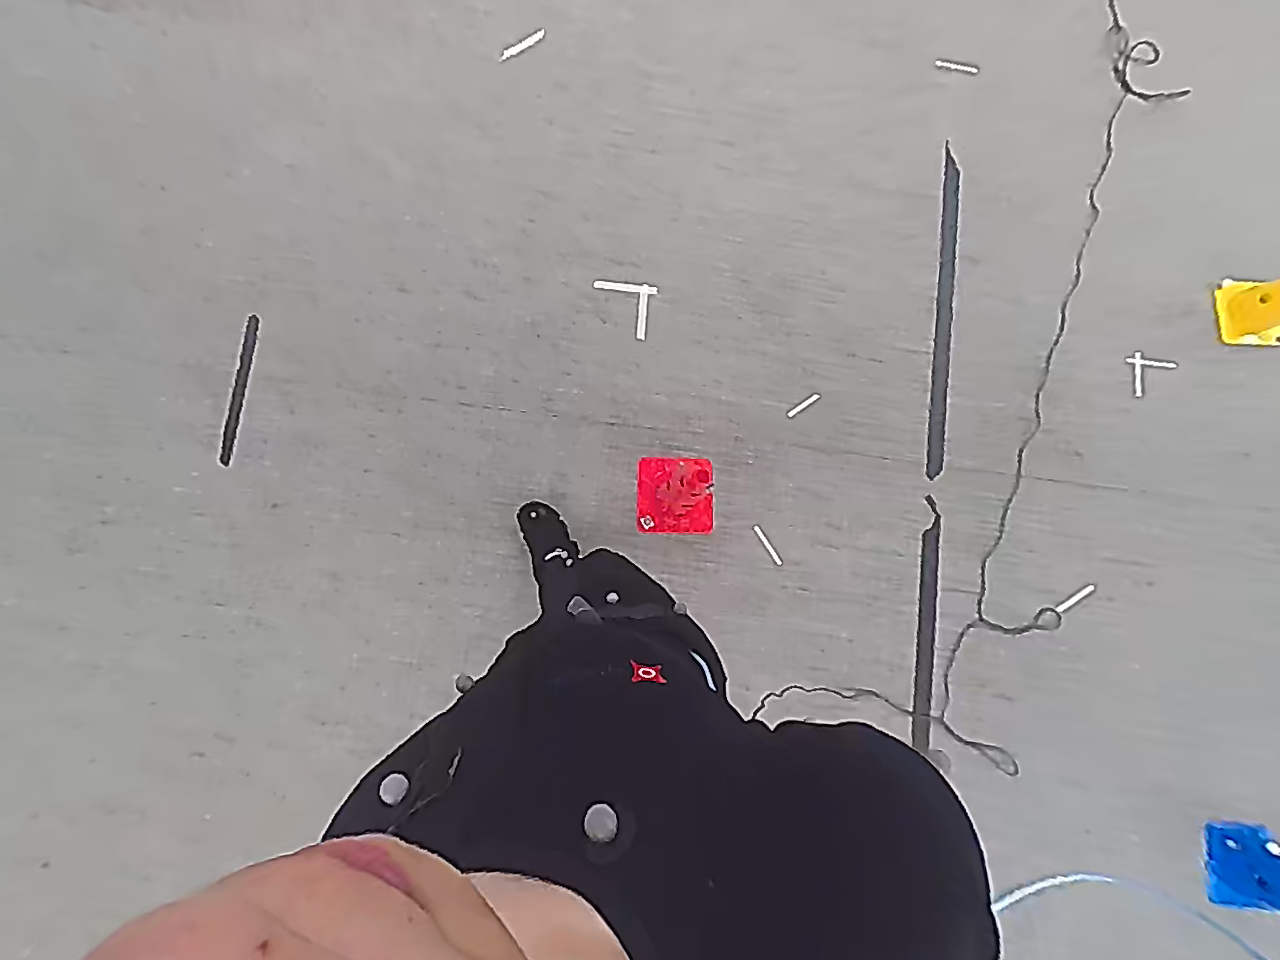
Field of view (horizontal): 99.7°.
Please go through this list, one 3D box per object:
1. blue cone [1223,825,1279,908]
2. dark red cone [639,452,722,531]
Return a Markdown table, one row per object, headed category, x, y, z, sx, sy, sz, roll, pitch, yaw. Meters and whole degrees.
| category | x | y | z | sx | sy | sz | roll | pitch | yaw |
| --- | --- | --- | --- | --- | --- | --- | --- | --- | --- |
| blue cone | 1.593 | 0.963 | 1.219 | 0.192 | 0.380 | 0.193 | 8 | 82 | -5 |
| dark red cone | 0.116 | 0.005 | 1.204 | 0.201 | 0.394 | 0.202 | 0 | 82 | -6 |
